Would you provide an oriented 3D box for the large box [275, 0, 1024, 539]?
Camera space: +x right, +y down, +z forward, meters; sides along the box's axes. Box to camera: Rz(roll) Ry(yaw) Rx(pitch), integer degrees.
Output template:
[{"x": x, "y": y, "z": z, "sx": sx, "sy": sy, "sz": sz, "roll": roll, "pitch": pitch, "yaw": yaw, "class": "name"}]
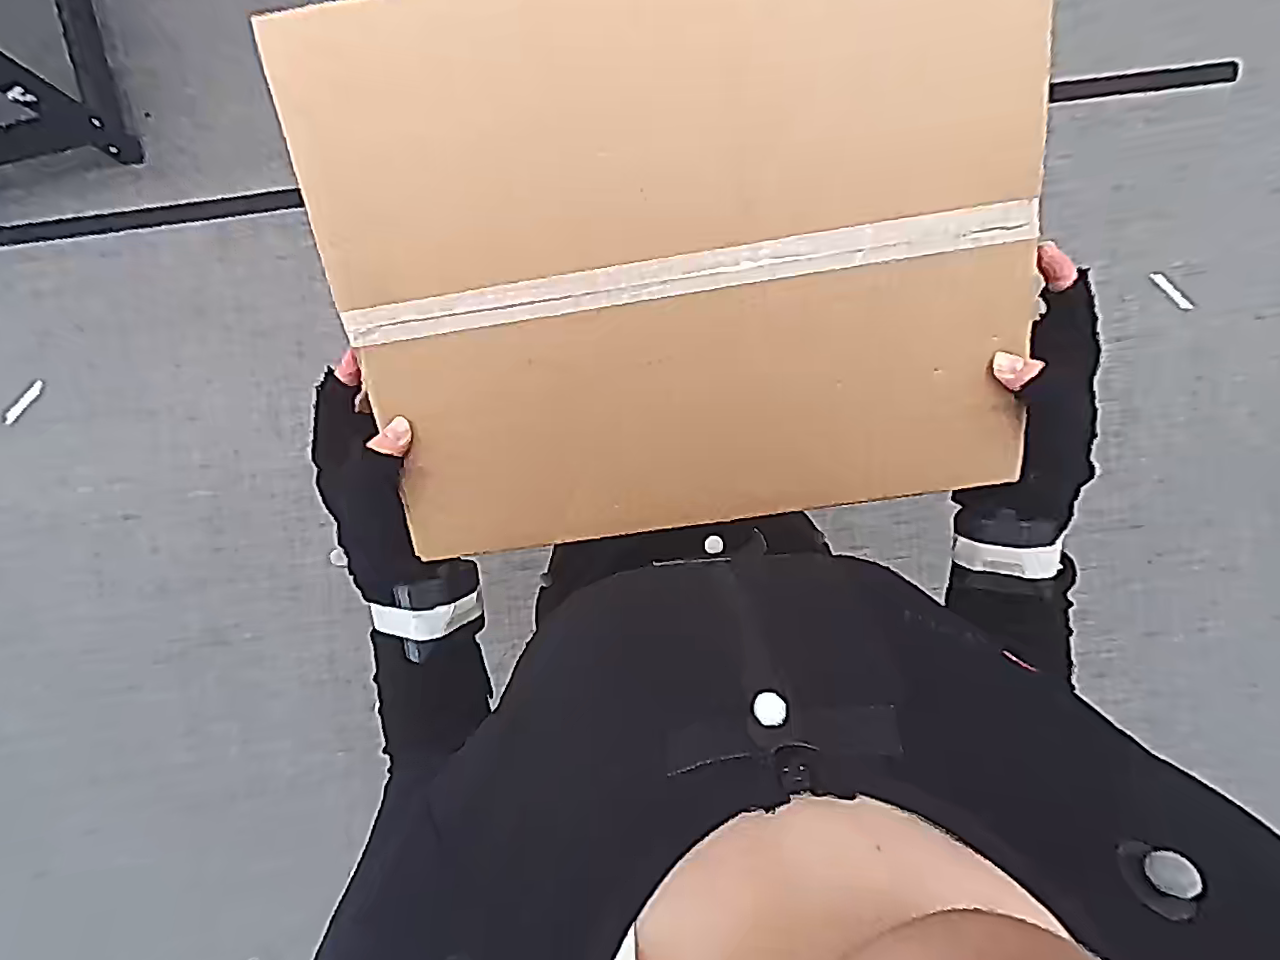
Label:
[{"x": 0.019, "y": -0.176, "z": 0.466, "sx": 0.408, "sy": 0.320, "sz": 0.320, "roll": -8, "pitch": 109, "yaw": 2, "class": "large box"}]
